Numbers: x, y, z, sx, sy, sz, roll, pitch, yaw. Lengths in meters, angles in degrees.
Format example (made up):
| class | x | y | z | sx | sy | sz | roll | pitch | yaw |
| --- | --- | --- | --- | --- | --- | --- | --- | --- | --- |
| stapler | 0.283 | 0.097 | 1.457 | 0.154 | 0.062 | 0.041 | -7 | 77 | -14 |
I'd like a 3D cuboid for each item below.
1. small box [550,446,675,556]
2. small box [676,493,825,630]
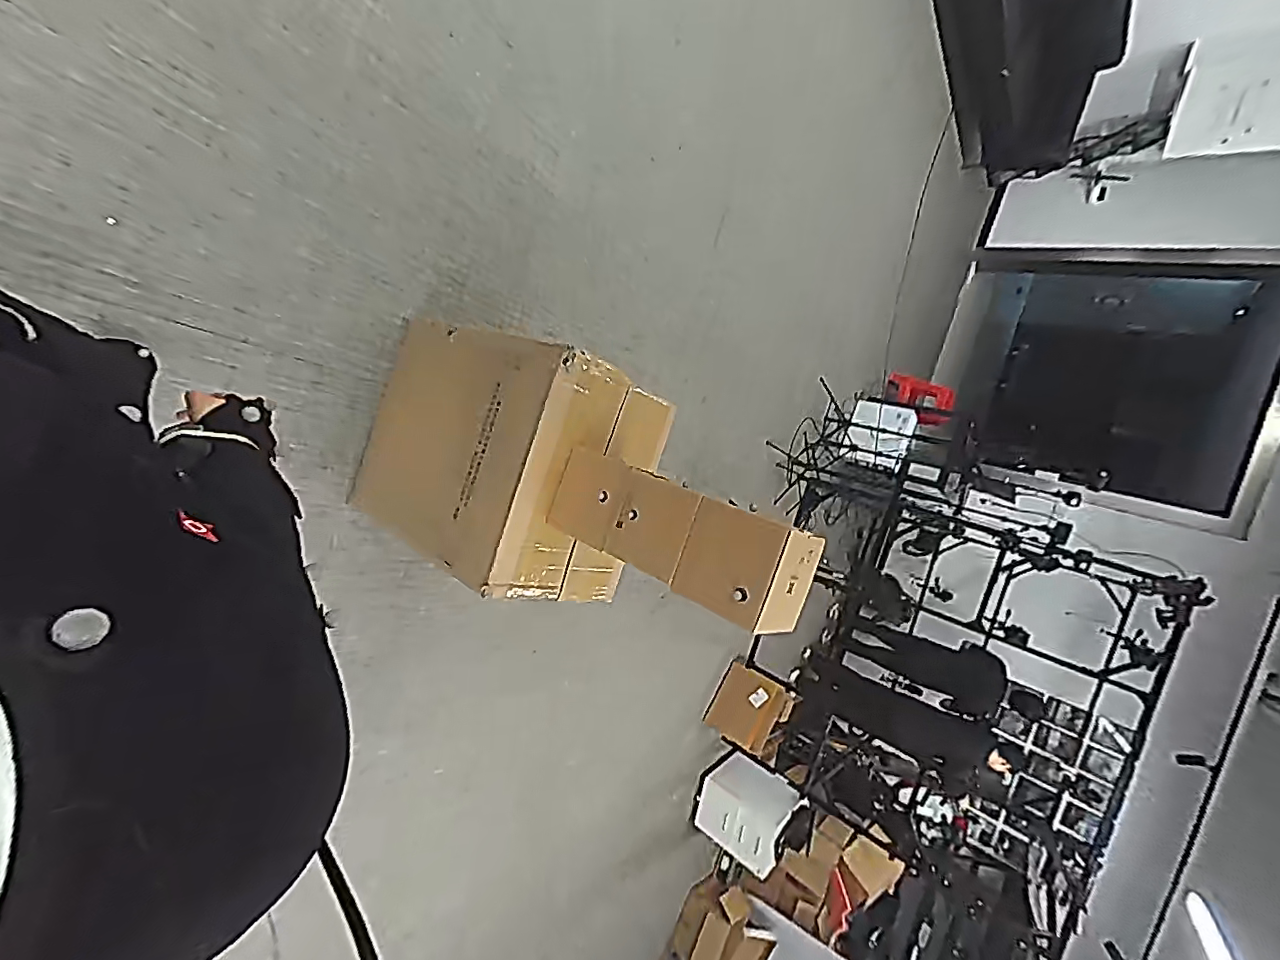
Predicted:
| class | x | y | z | sx | sy | sz | roll | pitch | yaw |
| --- | --- | --- | --- | --- | --- | --- | --- | --- | --- |
| small box | -0.060 | 0.042 | 1.126 | 0.168 | 0.176 | 0.179 | 20 | 91 | -53 |
| small box | 0.185 | 0.139 | 0.927 | 0.168 | 0.176 | 0.179 | 19 | 91 | -52 |
